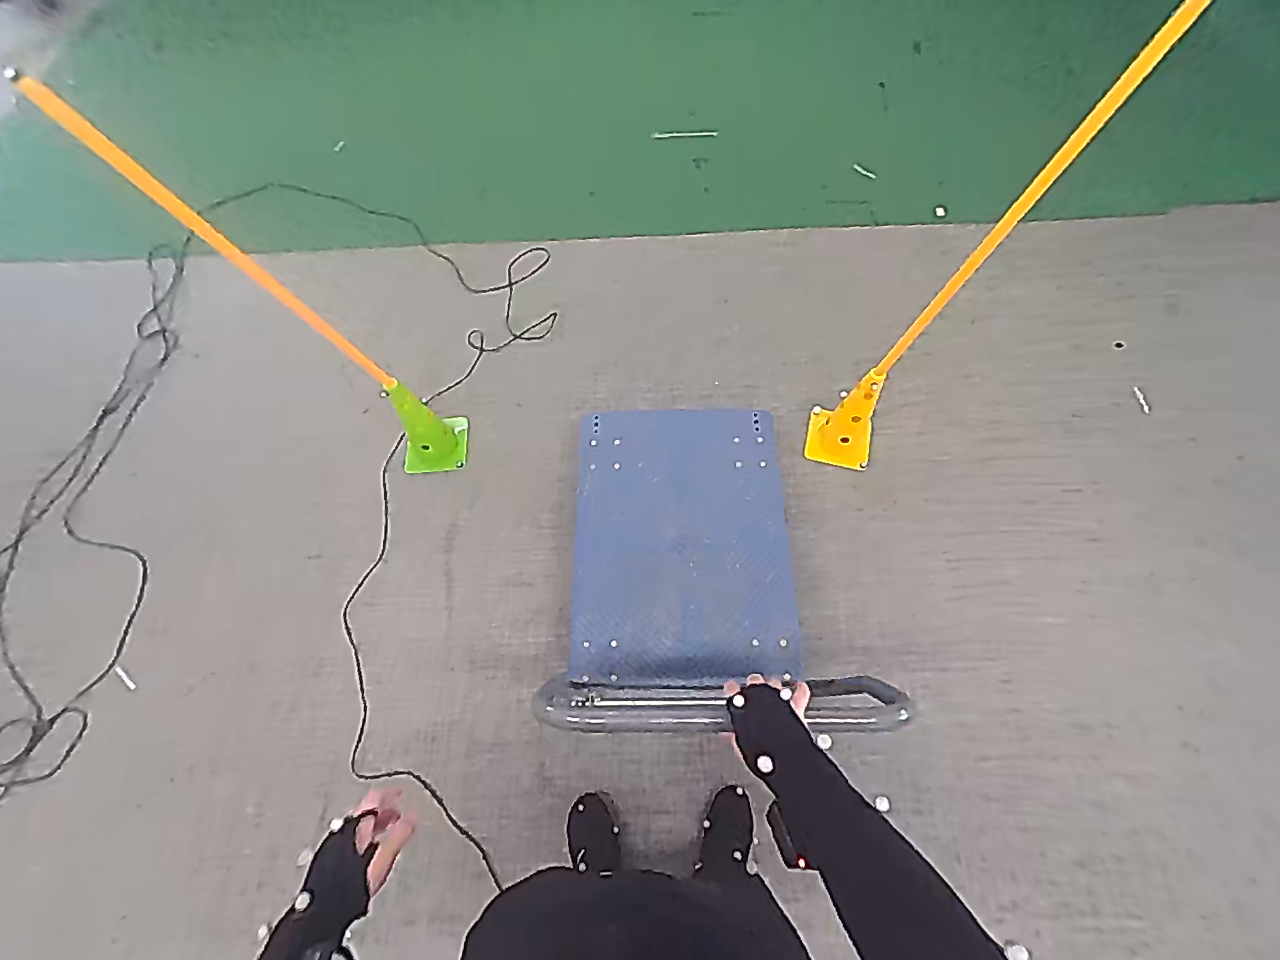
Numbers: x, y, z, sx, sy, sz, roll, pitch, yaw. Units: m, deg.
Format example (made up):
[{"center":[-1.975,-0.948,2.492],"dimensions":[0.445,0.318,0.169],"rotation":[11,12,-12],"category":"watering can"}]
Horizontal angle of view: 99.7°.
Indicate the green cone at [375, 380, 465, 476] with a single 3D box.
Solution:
[{"center":[-0.696,-0.187,1.652],"dimensions":[0.202,0.368,0.200],"rotation":[-7,64,1],"category":"green cone"}]
